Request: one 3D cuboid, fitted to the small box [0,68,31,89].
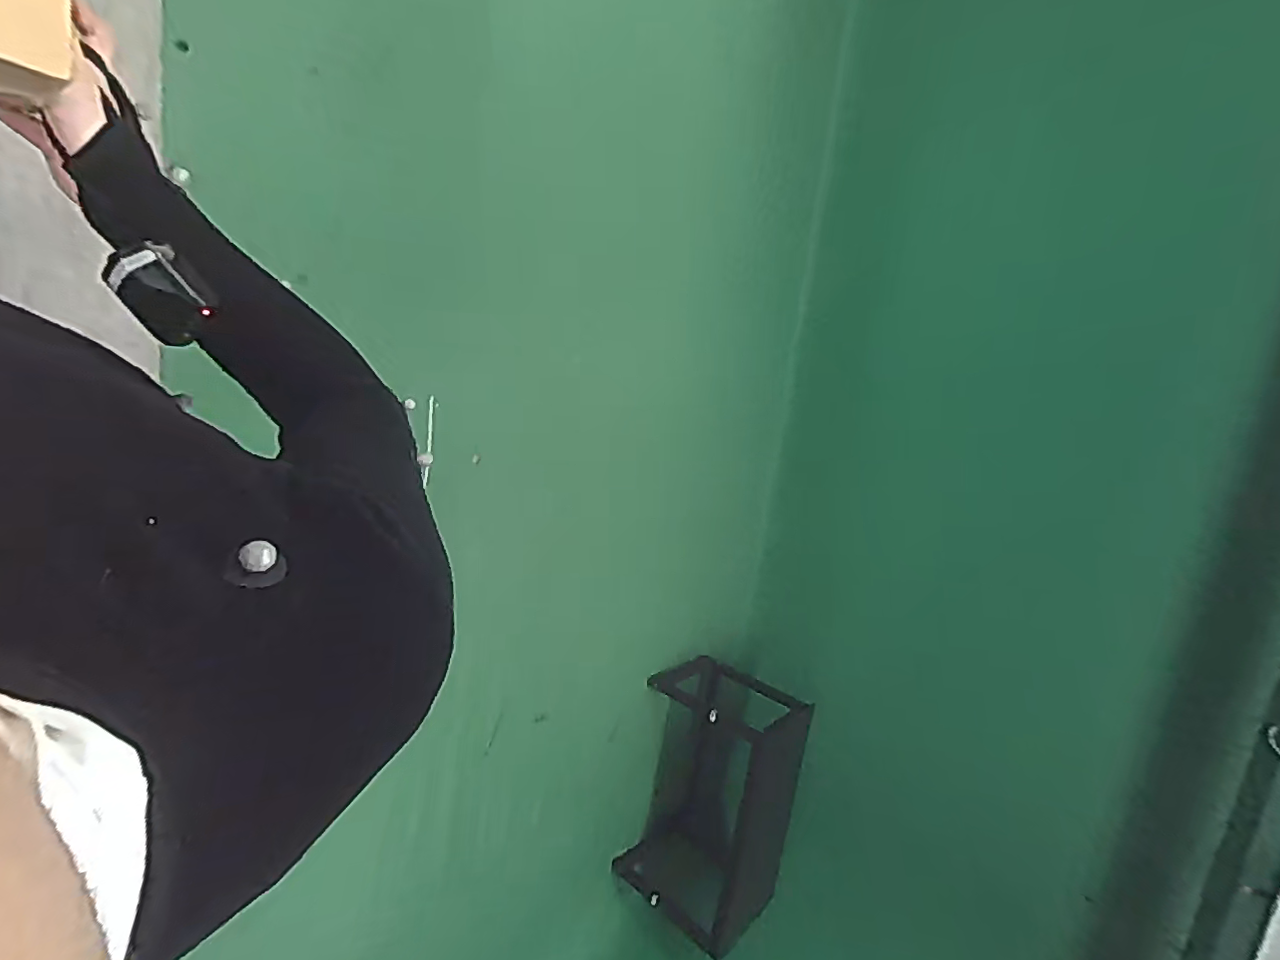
[{"bbox_3d":[-0.473,-0.356,0.306,0.168,0.176,0.179,-5,114,-48],"label":"small box"}]

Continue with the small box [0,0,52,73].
[{"bbox_3d":[-0.354,-0.298,0.212,0.168,0.176,0.179,-3,114,-48],"label":"small box"}]
